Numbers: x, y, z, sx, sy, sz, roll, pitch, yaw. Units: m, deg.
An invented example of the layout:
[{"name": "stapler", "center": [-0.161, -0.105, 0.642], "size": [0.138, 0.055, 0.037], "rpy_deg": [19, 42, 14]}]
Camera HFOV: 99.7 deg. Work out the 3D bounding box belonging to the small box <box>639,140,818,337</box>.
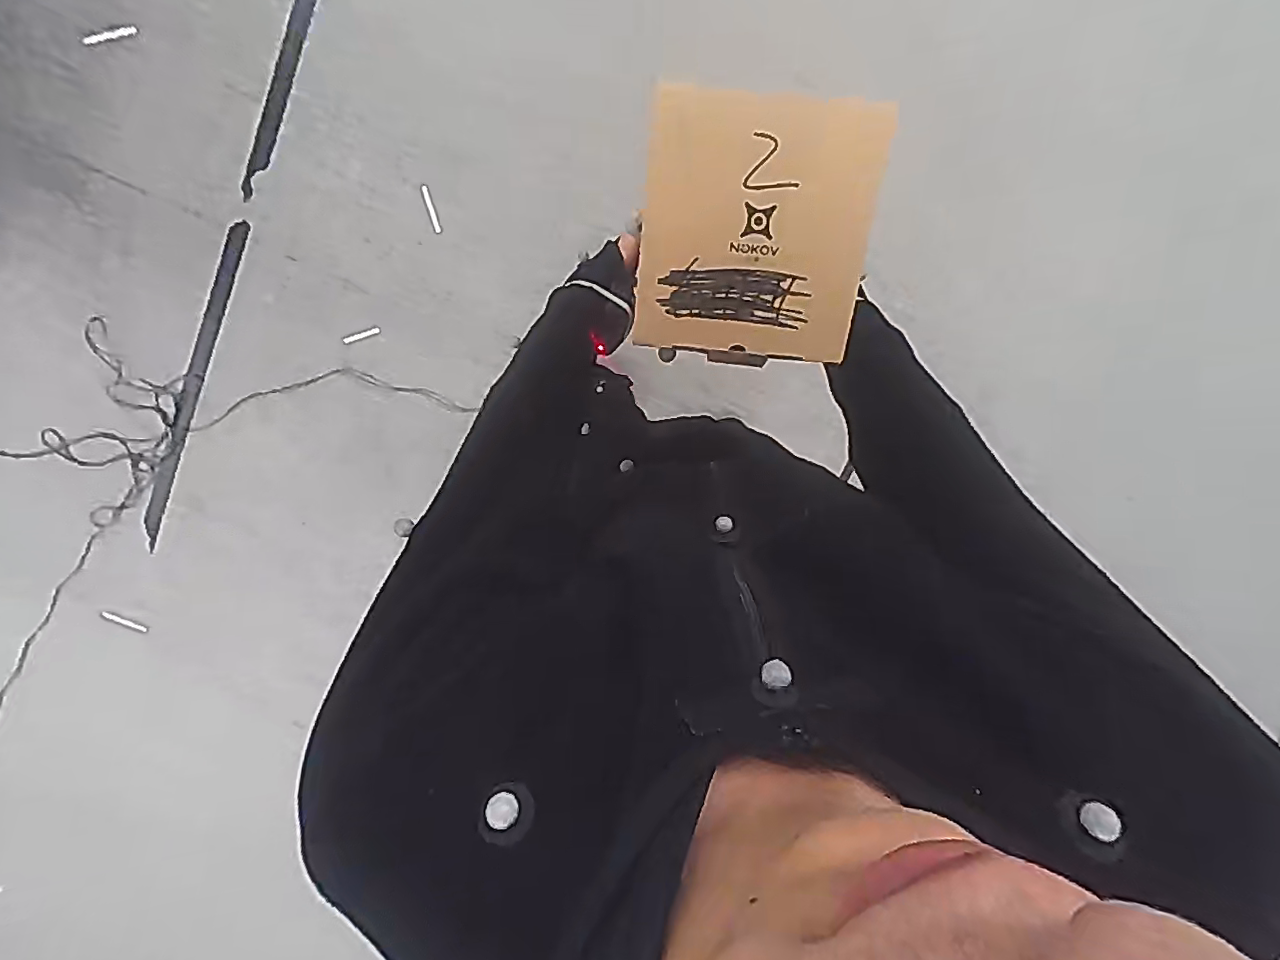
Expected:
[{"name": "small box", "center": [0.085, -0.265, 0.613], "size": [0.168, 0.176, 0.179], "rpy_deg": [3, 113, 1]}]
